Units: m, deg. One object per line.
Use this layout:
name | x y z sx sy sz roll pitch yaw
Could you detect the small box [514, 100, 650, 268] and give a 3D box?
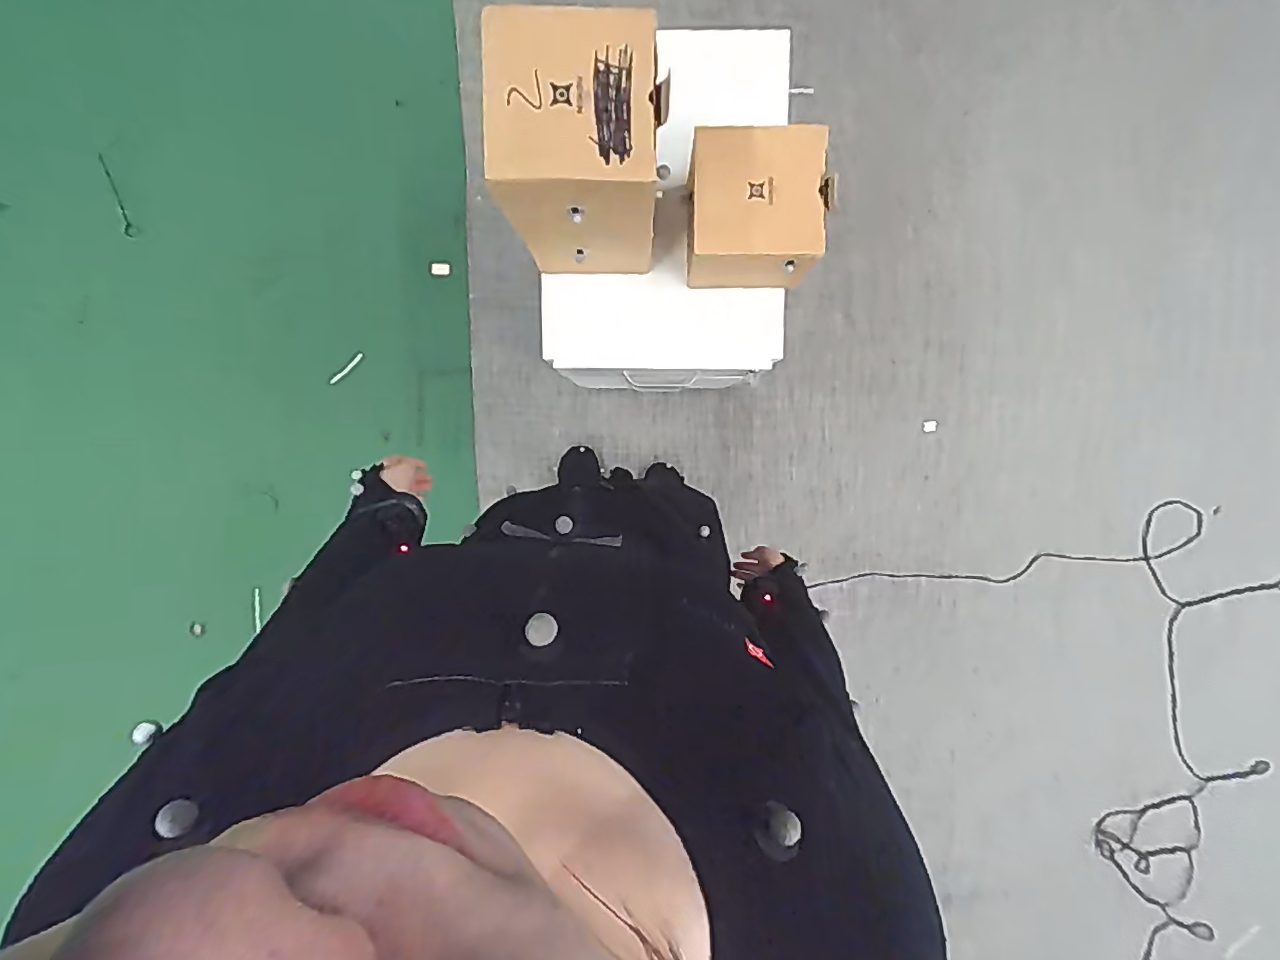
small box | -0.075 -0.413 0.781 0.179 0.176 0.168 -1 96 -1
